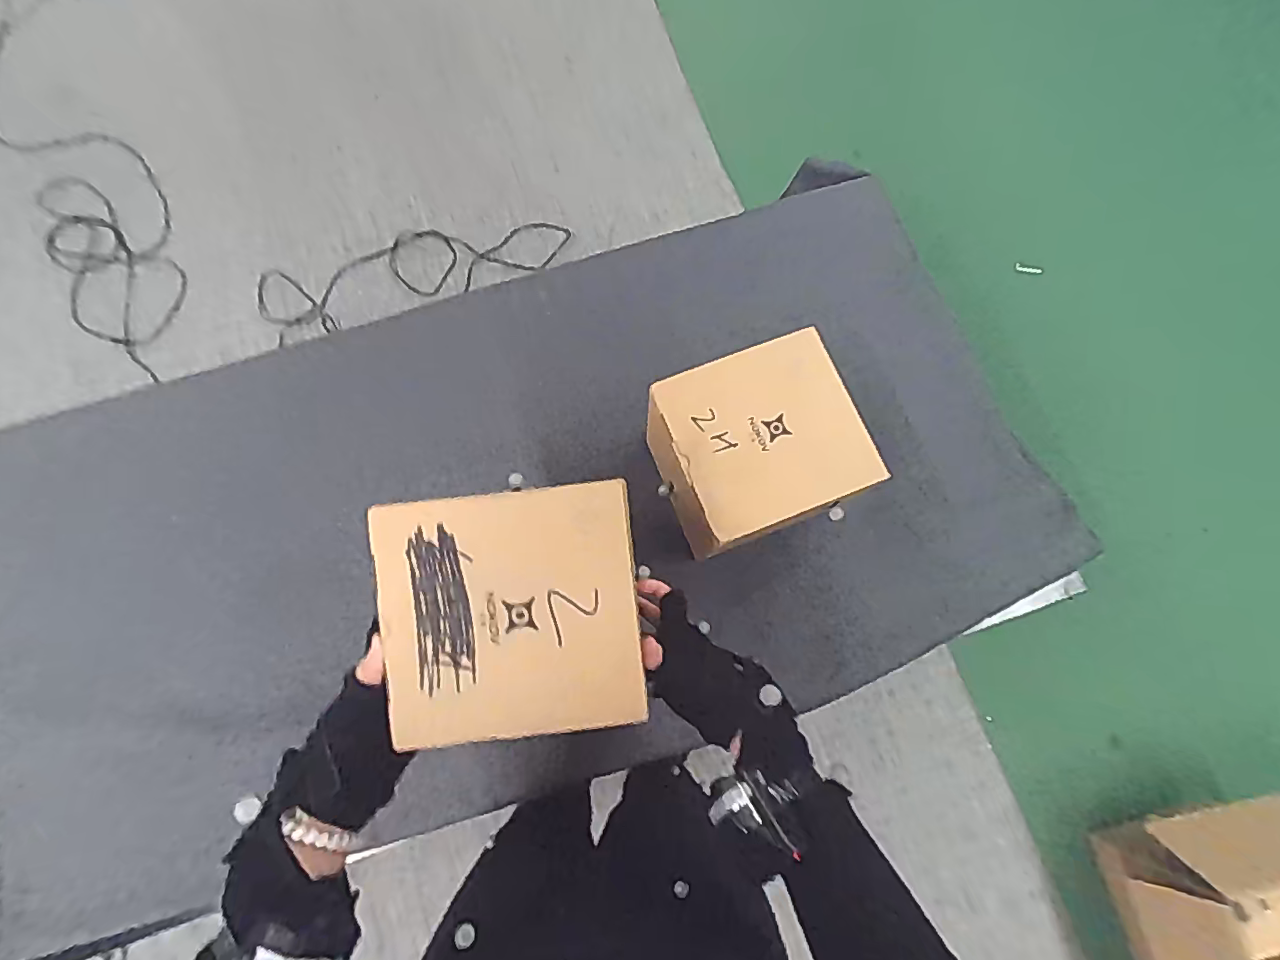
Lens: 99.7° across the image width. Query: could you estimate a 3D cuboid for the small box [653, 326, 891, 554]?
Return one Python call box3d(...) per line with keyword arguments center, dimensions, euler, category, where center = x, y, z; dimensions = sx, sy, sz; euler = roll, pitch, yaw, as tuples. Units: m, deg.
box3d(center=(0.122, -0.031, 0.580), dimensions=(0.179, 0.176, 0.168), euler=(-21, 77, -5), category="small box")
